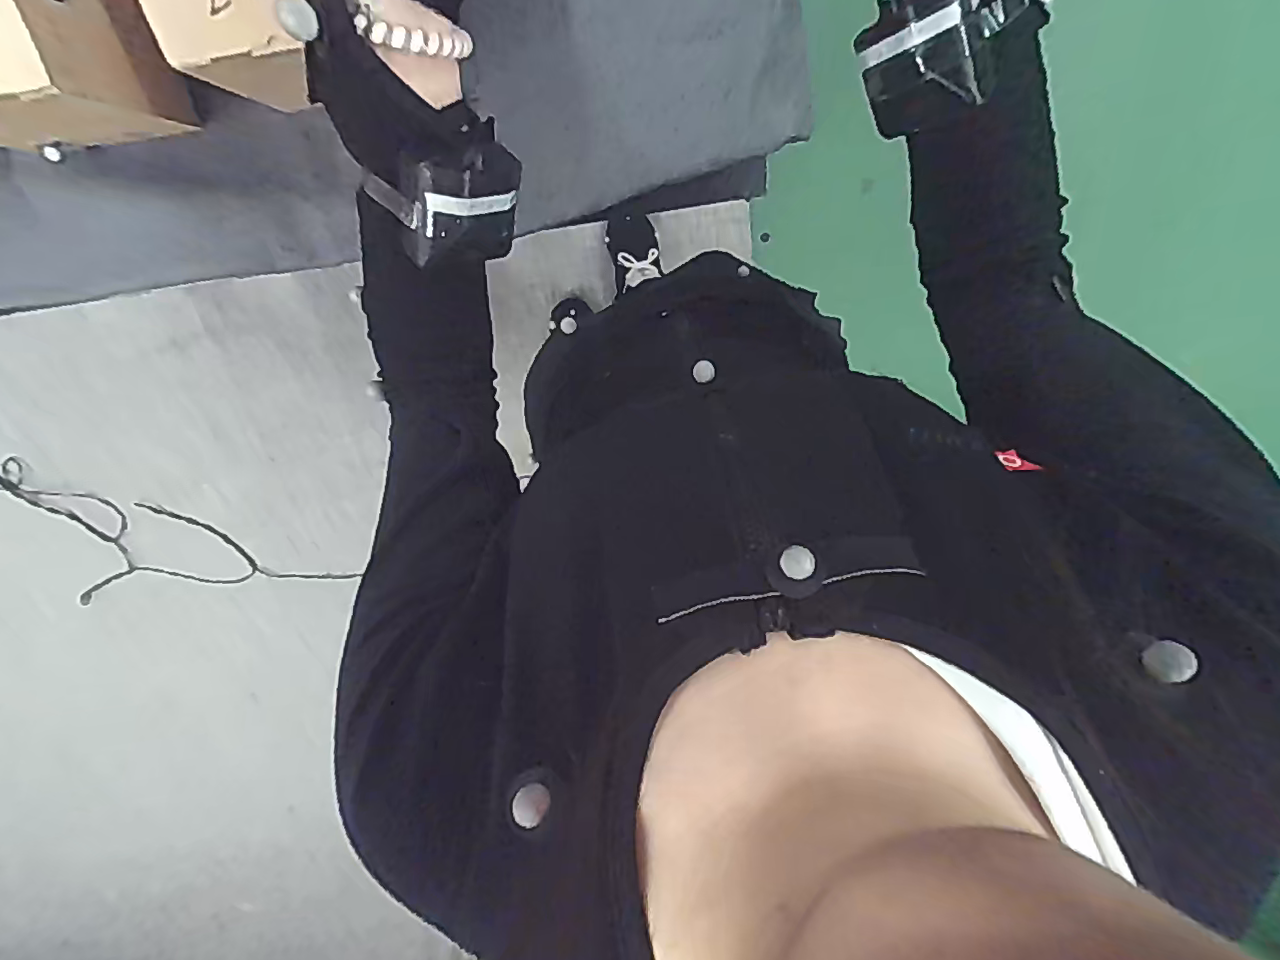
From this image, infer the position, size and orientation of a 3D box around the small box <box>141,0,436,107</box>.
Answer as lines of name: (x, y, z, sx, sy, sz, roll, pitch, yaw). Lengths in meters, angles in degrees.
small box: (-0.286, -0.430, 0.434, 0.168, 0.176, 0.179, -11, 116, -1)

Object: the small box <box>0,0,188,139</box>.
small box: (-0.525, -0.387, 0.430, 0.168, 0.176, 0.179, -9, 115, -2)
